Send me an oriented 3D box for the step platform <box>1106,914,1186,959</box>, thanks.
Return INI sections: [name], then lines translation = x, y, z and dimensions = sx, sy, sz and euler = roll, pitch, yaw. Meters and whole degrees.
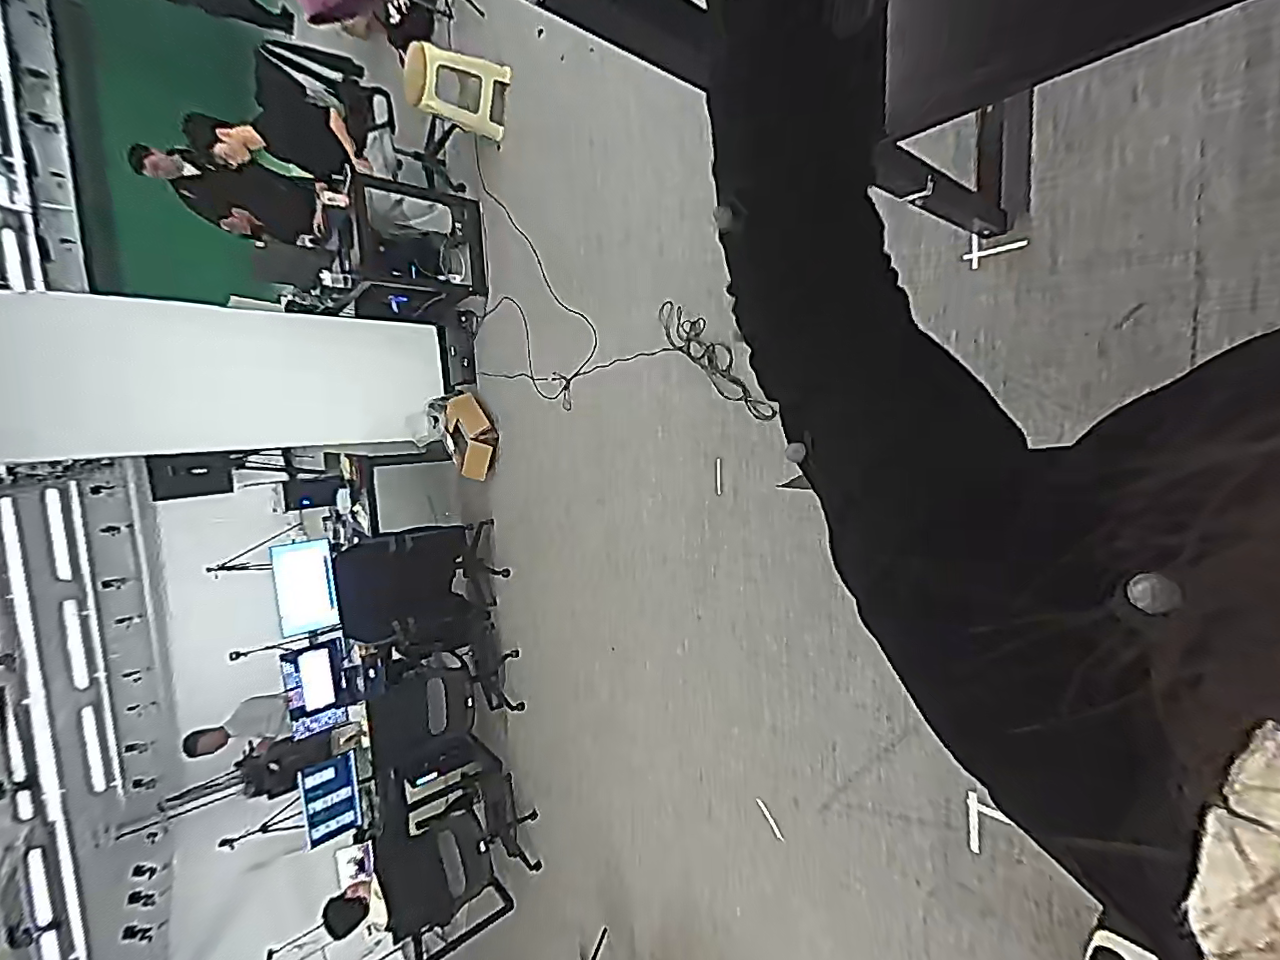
[step platform]
translation = 1.248, 1.168, 0.949
dimensions = 0.684, 0.204, 0.286
euler = 13, 106, 48
